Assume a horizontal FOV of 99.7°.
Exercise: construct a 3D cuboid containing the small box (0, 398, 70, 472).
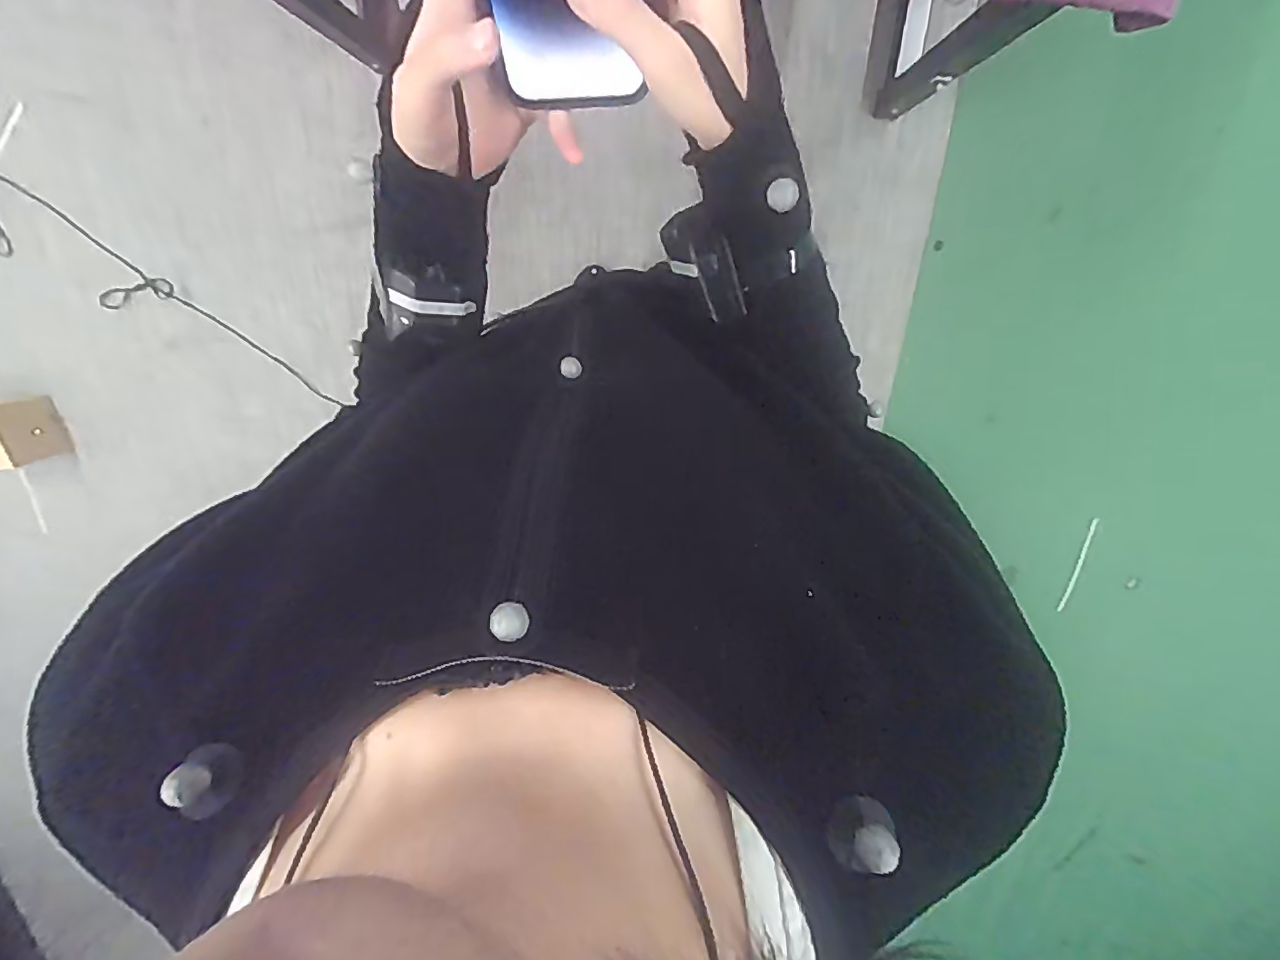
[{"bbox_3d":[-1.739,-0.126,1.483,0.179,0.176,0.168,-3,111,4],"label":"small box"}]
